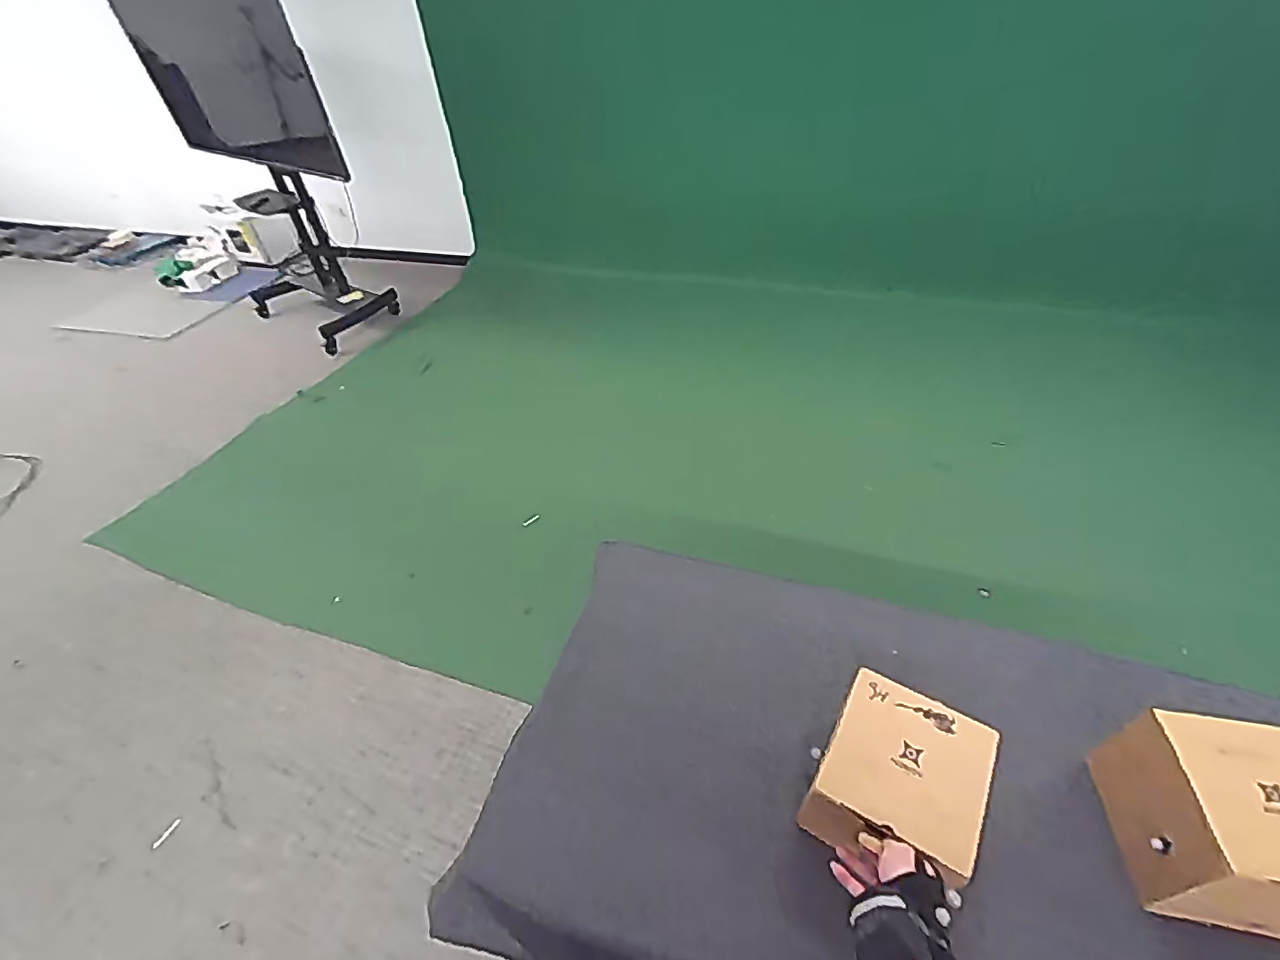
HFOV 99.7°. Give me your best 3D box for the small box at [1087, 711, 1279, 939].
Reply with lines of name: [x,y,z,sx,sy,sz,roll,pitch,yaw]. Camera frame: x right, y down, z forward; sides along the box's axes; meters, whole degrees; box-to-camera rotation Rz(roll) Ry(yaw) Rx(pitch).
small box: [0.690,0.409,0.641,0.168,0.176,0.179,7,42,10]

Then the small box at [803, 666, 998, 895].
small box: [0.320,0.383,0.690,0.168,0.176,0.179,23,52,26]
